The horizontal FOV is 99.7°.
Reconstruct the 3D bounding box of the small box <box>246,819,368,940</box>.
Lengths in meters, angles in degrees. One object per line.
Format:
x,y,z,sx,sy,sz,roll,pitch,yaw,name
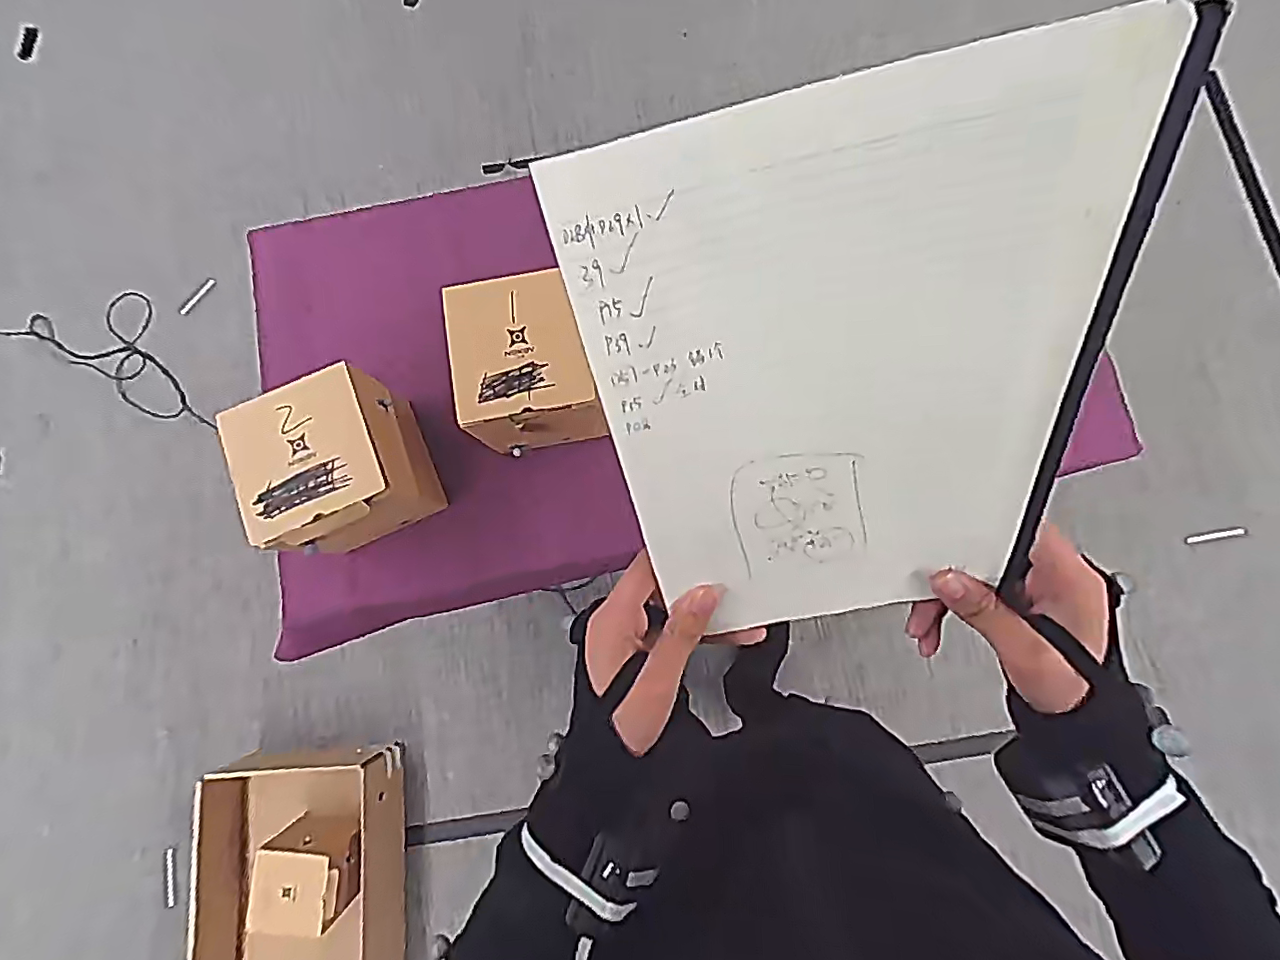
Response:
-0.765,0.921,1.262,0.179,0.176,0.168,3,82,3,small box

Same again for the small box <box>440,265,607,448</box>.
-0.141,-0.146,0.707,0.168,0.176,0.179,-10,80,1,small box
